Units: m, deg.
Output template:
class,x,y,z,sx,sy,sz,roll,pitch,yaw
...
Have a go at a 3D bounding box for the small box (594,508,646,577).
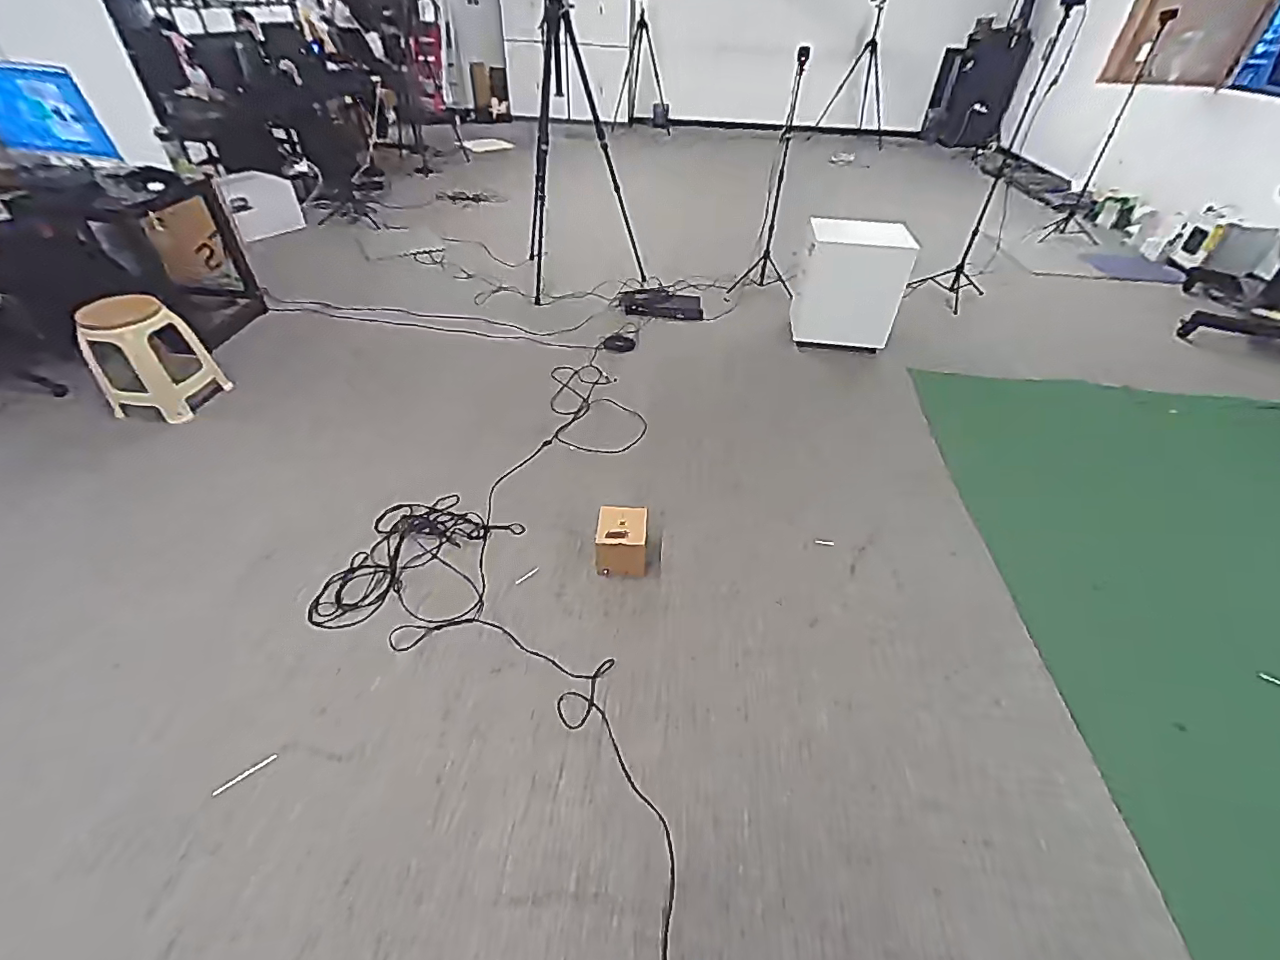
class,x,y,z,sx,sy,sz,roll,pitch,yaw
small box,-0.066,0.219,1.876,0.168,0.176,0.179,3,41,1
